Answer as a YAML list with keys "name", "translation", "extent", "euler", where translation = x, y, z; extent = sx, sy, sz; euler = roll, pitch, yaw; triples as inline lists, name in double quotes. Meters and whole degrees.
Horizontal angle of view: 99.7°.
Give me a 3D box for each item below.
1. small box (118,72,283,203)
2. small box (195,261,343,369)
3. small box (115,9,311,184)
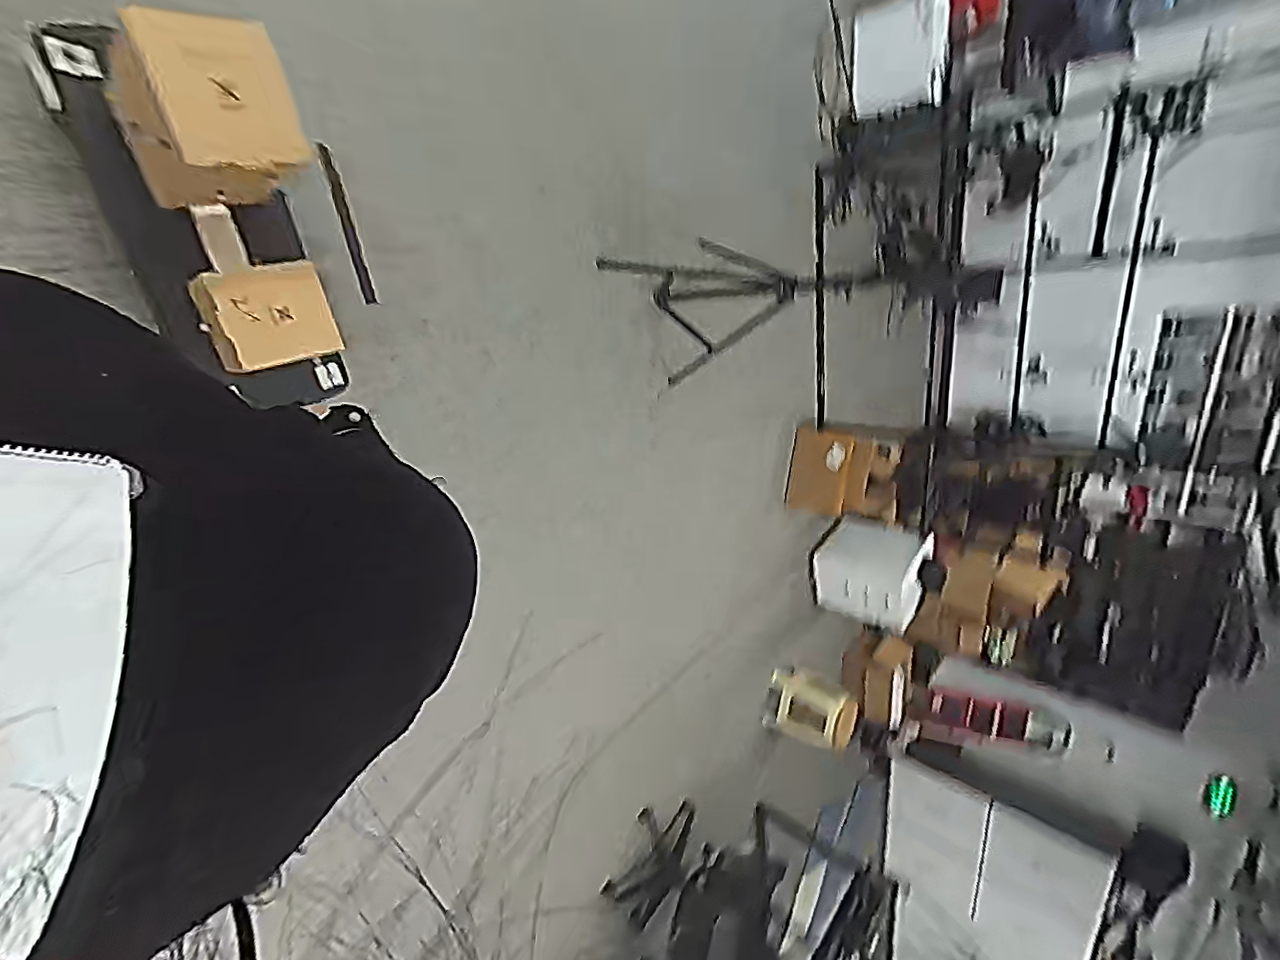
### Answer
- name: "small box"
  translation: [-0.752, -0.580, 0.919]
  extent: [0.168, 0.176, 0.179]
  euler: [-30, 120, -39]
- name: "small box"
  translation: [-0.709, -0.313, 1.028]
  extent: [0.179, 0.176, 0.168]
  euler: [-28, 117, -40]
- name: "small box"
  translation: [-0.635, -0.552, 0.808]
  extent: [0.168, 0.176, 0.179]
  euler: [-32, 121, -39]
